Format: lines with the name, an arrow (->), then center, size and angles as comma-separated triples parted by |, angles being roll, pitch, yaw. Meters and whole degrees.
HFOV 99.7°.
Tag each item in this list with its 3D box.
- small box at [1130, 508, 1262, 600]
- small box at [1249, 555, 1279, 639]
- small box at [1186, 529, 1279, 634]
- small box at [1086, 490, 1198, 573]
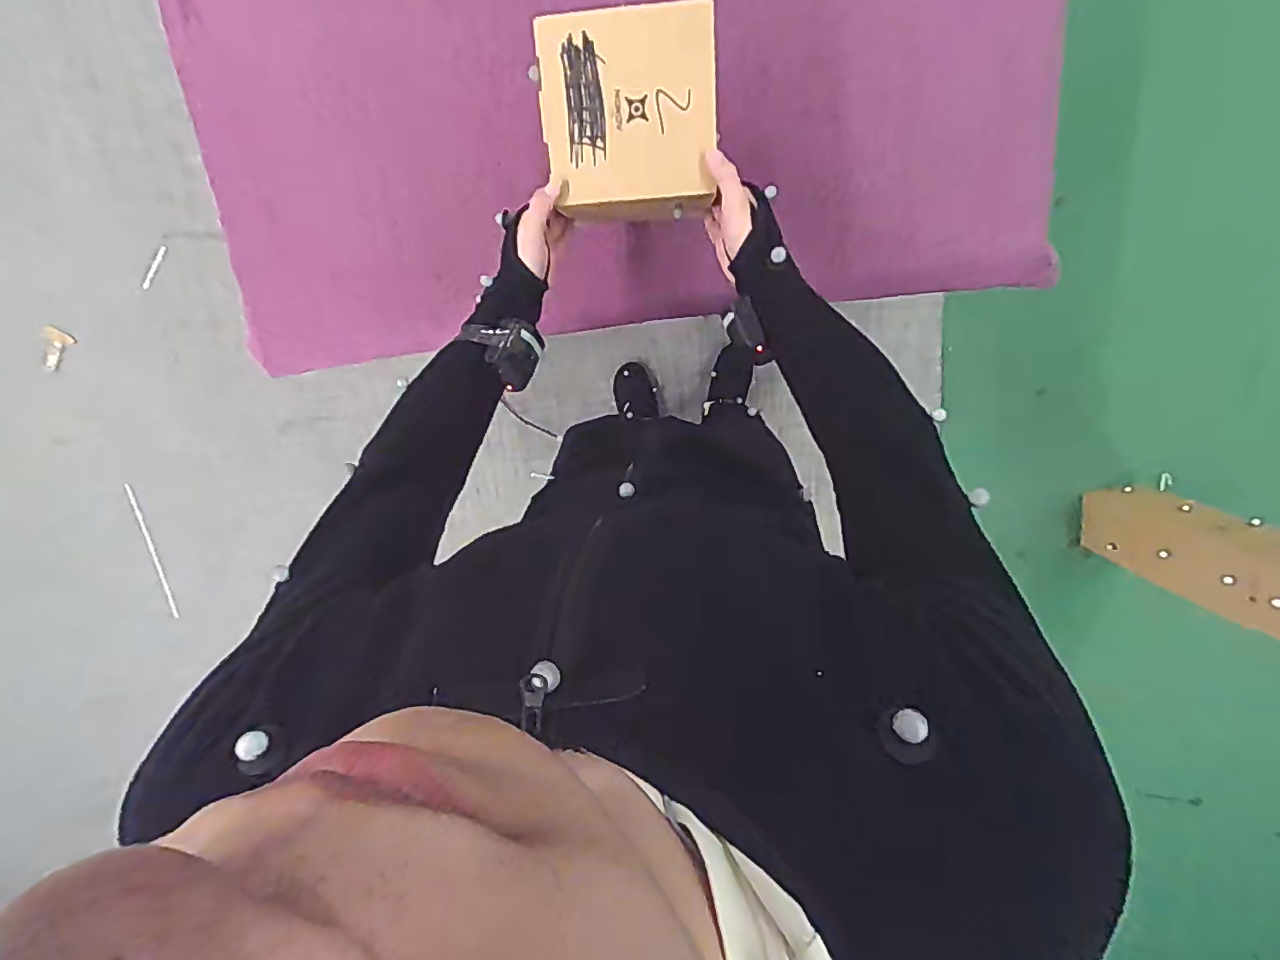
small box -> 1.402, 0.184, 1.375 | 0.168, 0.176, 0.179 | -7, 104, 5
small box -> 1.371, 0.247, 1.055 | 0.179, 0.176, 0.168 | -5, 104, 5
small box -> 1.392, 0.220, 1.216 | 0.168, 0.176, 0.179 | -9, 105, 6
small box -> 1.410, 0.142, 1.531 | 0.168, 0.176, 0.179 | -8, 105, 5
